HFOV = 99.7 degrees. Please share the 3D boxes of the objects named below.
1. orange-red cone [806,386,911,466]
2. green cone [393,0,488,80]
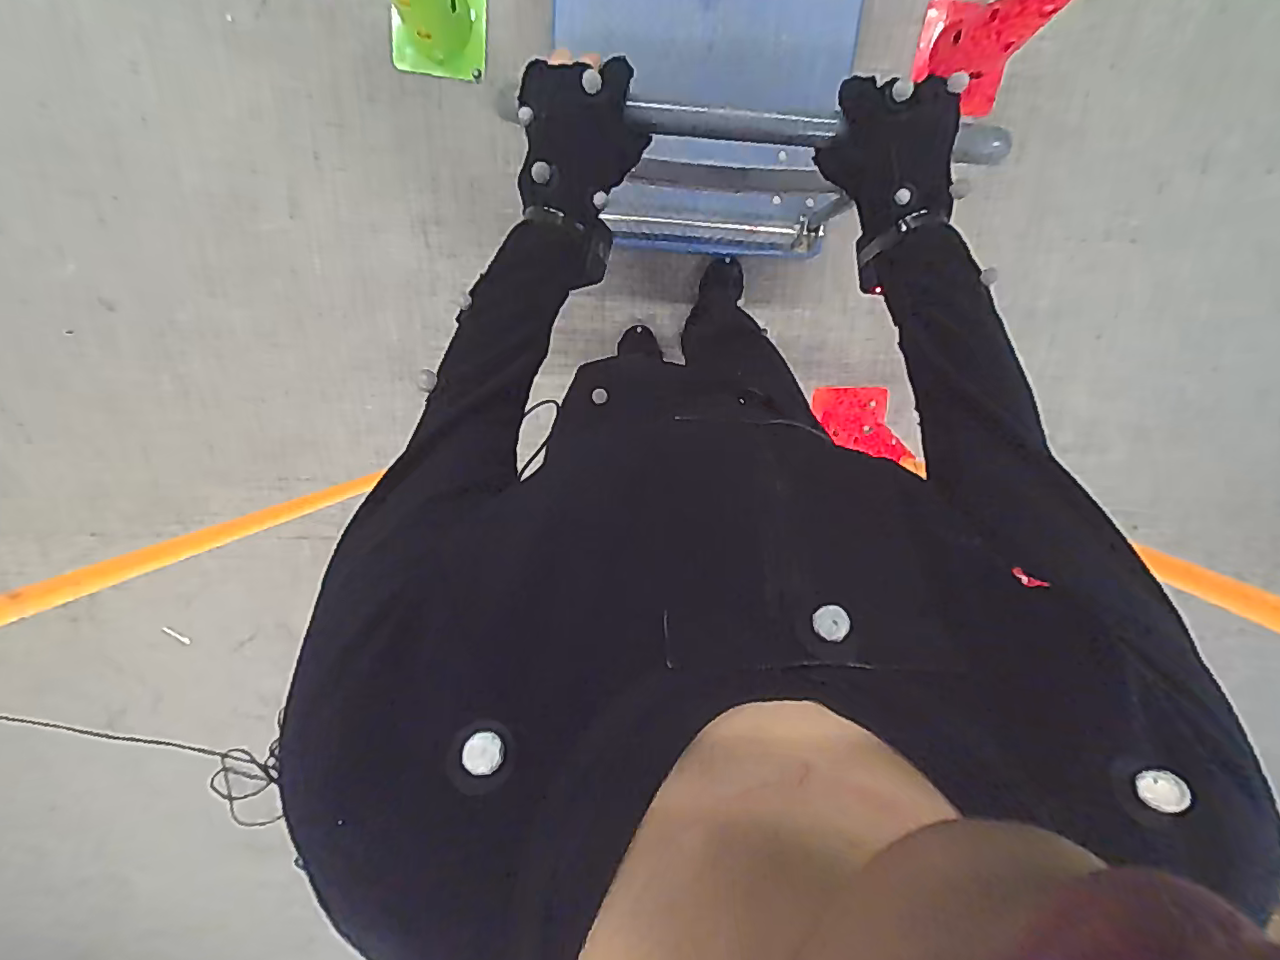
[{"bbox_3d":[0.550,-0.100,1.292,0.199,0.360,0.198,2,108,1],"label":"orange-red cone"},{"bbox_3d":[-0.430,-0.934,0.999,0.202,0.368,0.200,6,108,-1],"label":"green cone"}]
